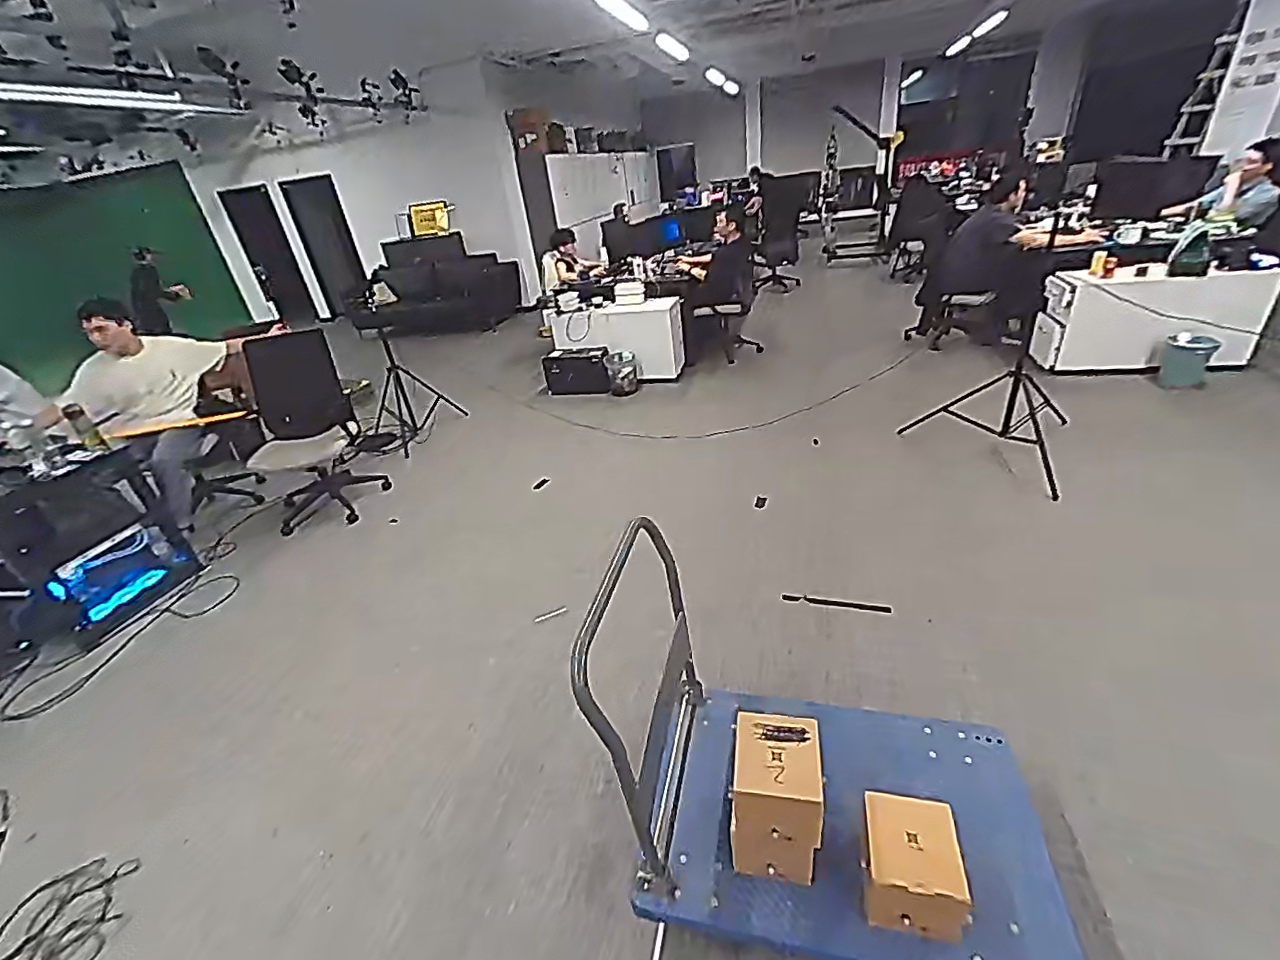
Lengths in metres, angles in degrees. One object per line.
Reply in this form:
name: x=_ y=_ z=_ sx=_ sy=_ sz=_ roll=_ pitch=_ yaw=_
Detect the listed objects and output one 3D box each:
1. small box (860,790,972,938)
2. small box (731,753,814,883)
small box: x=0.545 y=0.773 z=1.096 sx=0.168 sy=0.176 sz=0.179 roll=1 pitch=31 yaw=16
small box: x=0.295 y=0.748 z=1.202 sx=0.168 sy=0.176 sz=0.179 roll=0 pitch=31 yaw=15
